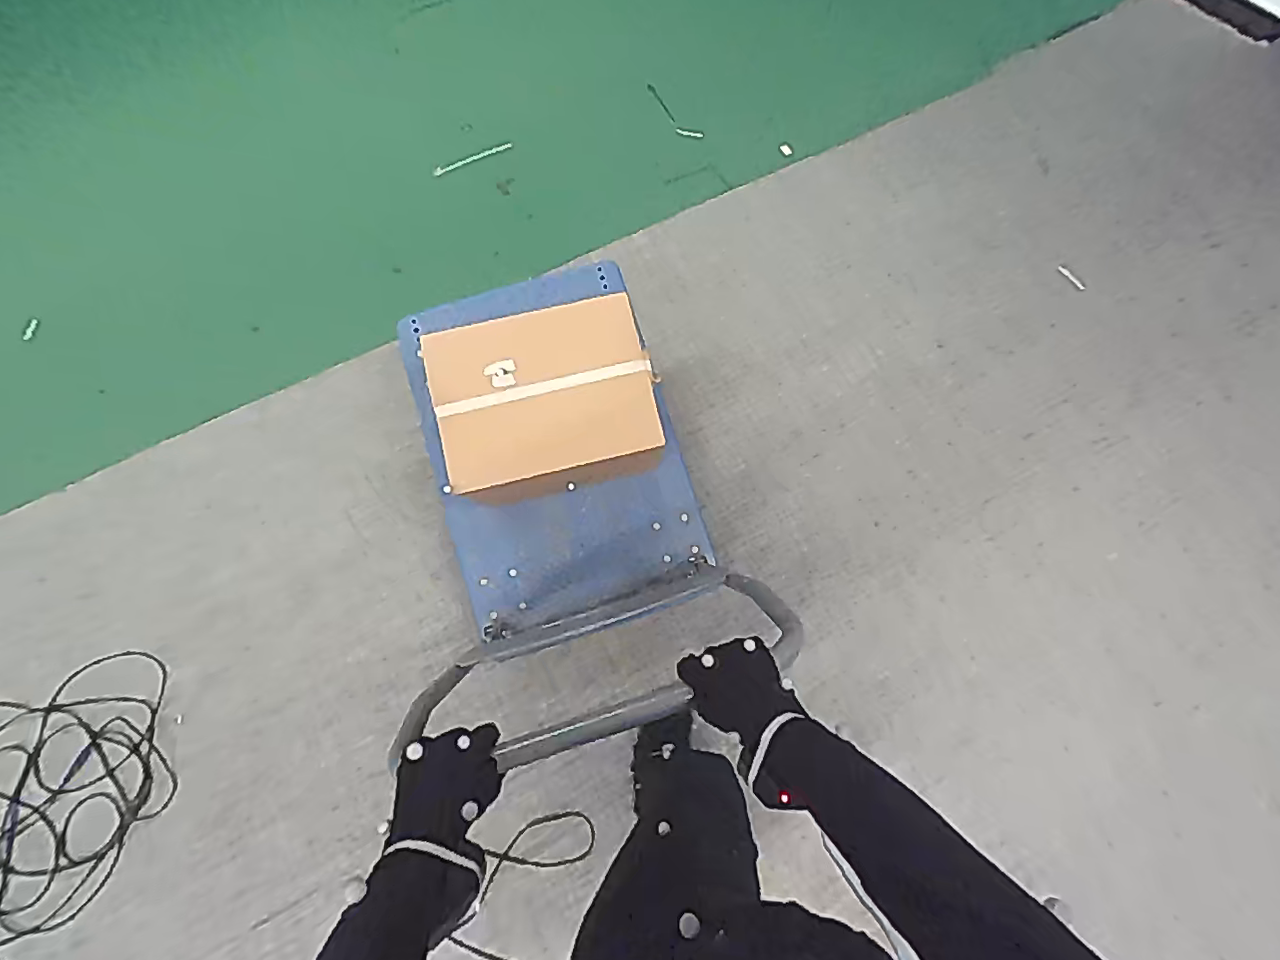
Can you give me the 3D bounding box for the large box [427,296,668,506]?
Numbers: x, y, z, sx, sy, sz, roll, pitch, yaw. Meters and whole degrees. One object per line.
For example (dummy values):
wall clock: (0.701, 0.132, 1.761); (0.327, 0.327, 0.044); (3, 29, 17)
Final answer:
large box: (-0.177, -0.145, 1.162); (0.408, 0.320, 0.320); (-14, 83, -2)
